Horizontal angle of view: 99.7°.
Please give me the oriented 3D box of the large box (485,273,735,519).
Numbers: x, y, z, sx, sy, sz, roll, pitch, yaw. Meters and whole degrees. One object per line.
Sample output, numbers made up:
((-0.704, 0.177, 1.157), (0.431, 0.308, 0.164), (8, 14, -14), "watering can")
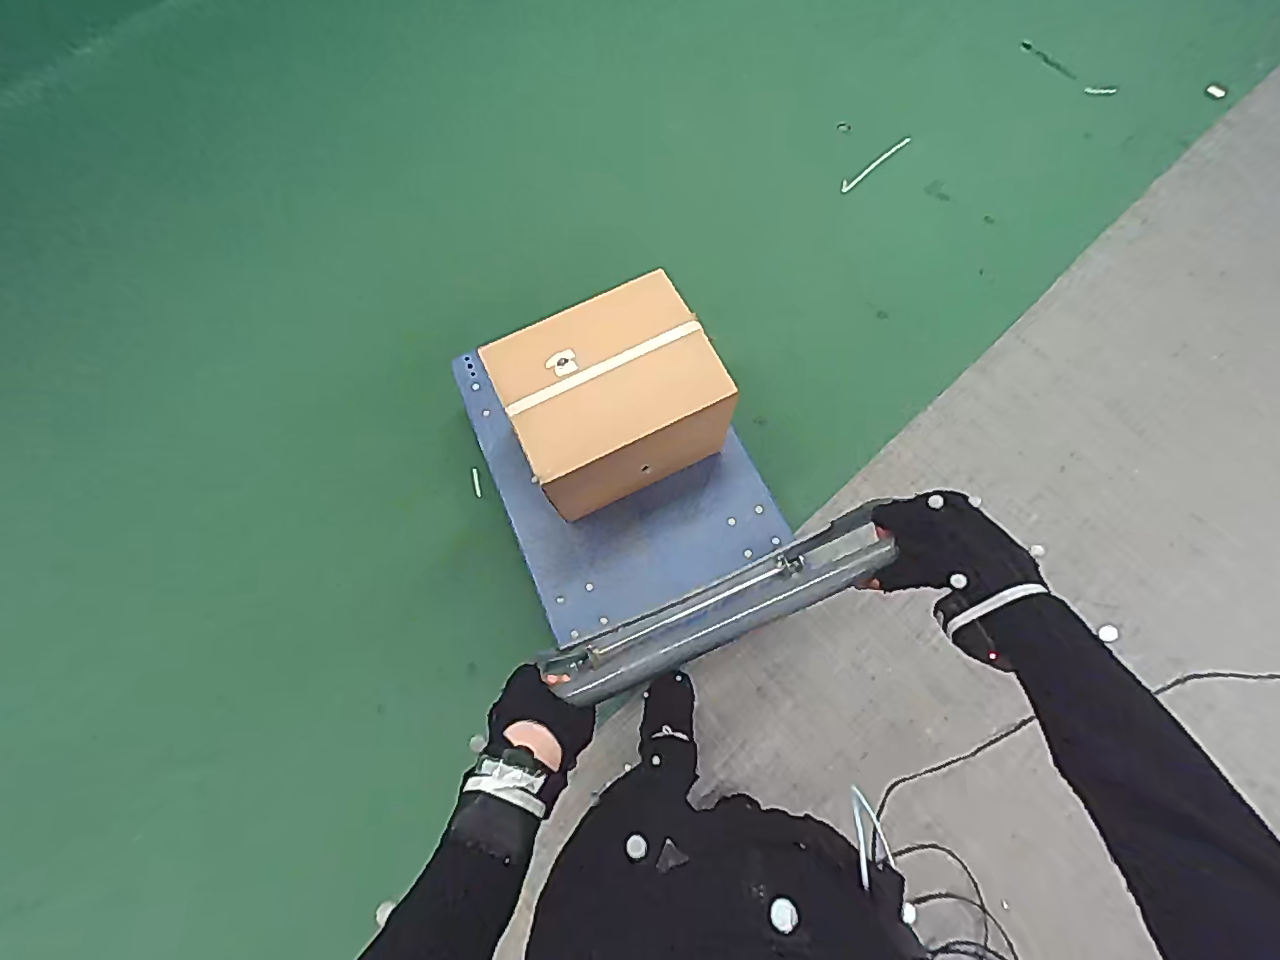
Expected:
((-0.055, -0.162, 1.178), (0.408, 0.320, 0.320), (-27, 73, -5), "large box")
